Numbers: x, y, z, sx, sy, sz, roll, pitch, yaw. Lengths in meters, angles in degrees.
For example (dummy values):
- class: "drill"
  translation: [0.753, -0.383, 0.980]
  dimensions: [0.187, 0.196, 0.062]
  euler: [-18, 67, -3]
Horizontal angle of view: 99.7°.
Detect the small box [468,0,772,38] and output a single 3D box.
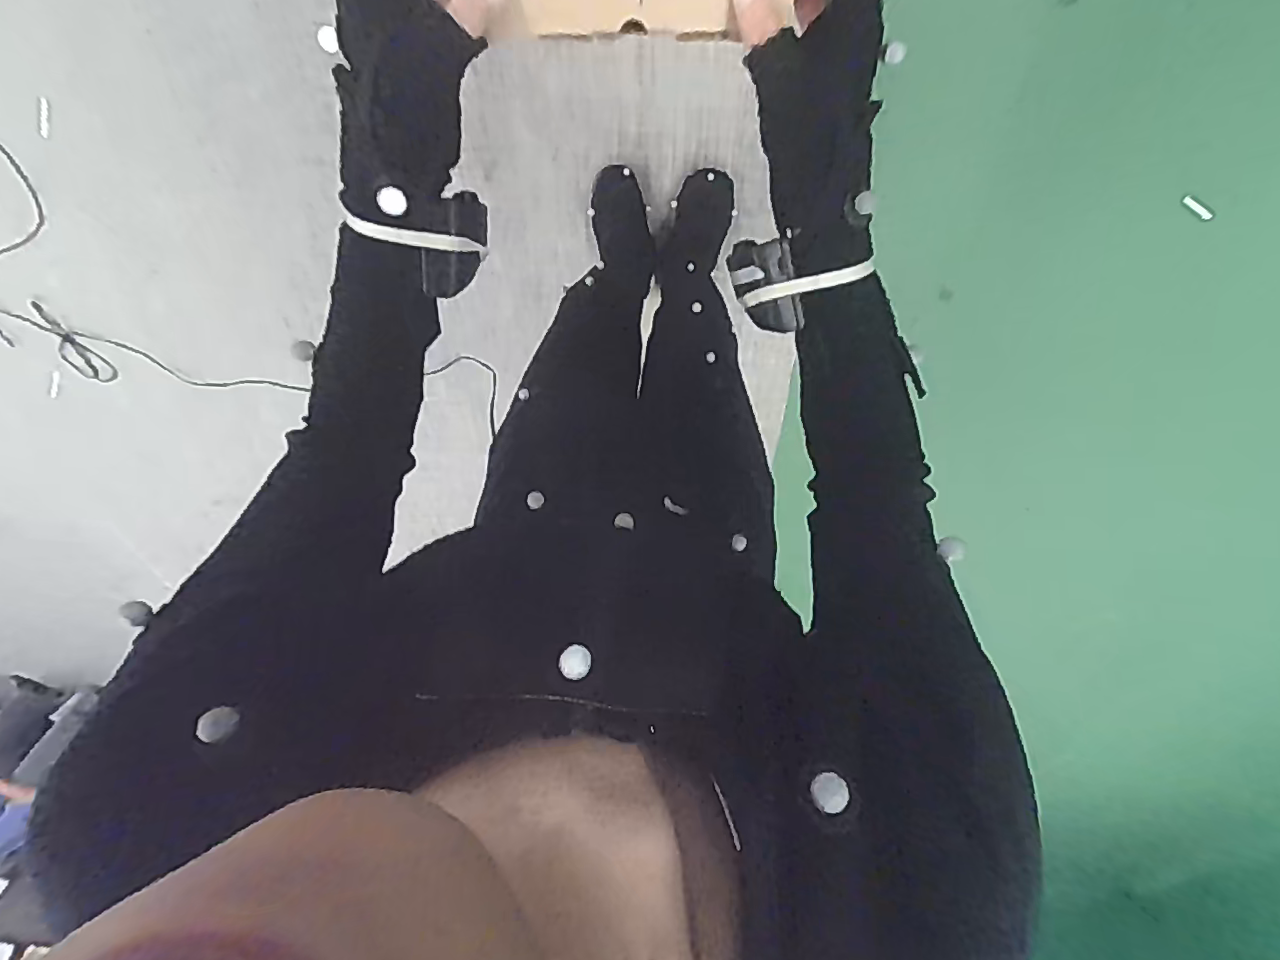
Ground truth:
- class: "small box"
  translation: [-0.006, -0.359, 0.280]
  dimensions: [0.168, 0.176, 0.179]
  euler: [2, 139, 3]
